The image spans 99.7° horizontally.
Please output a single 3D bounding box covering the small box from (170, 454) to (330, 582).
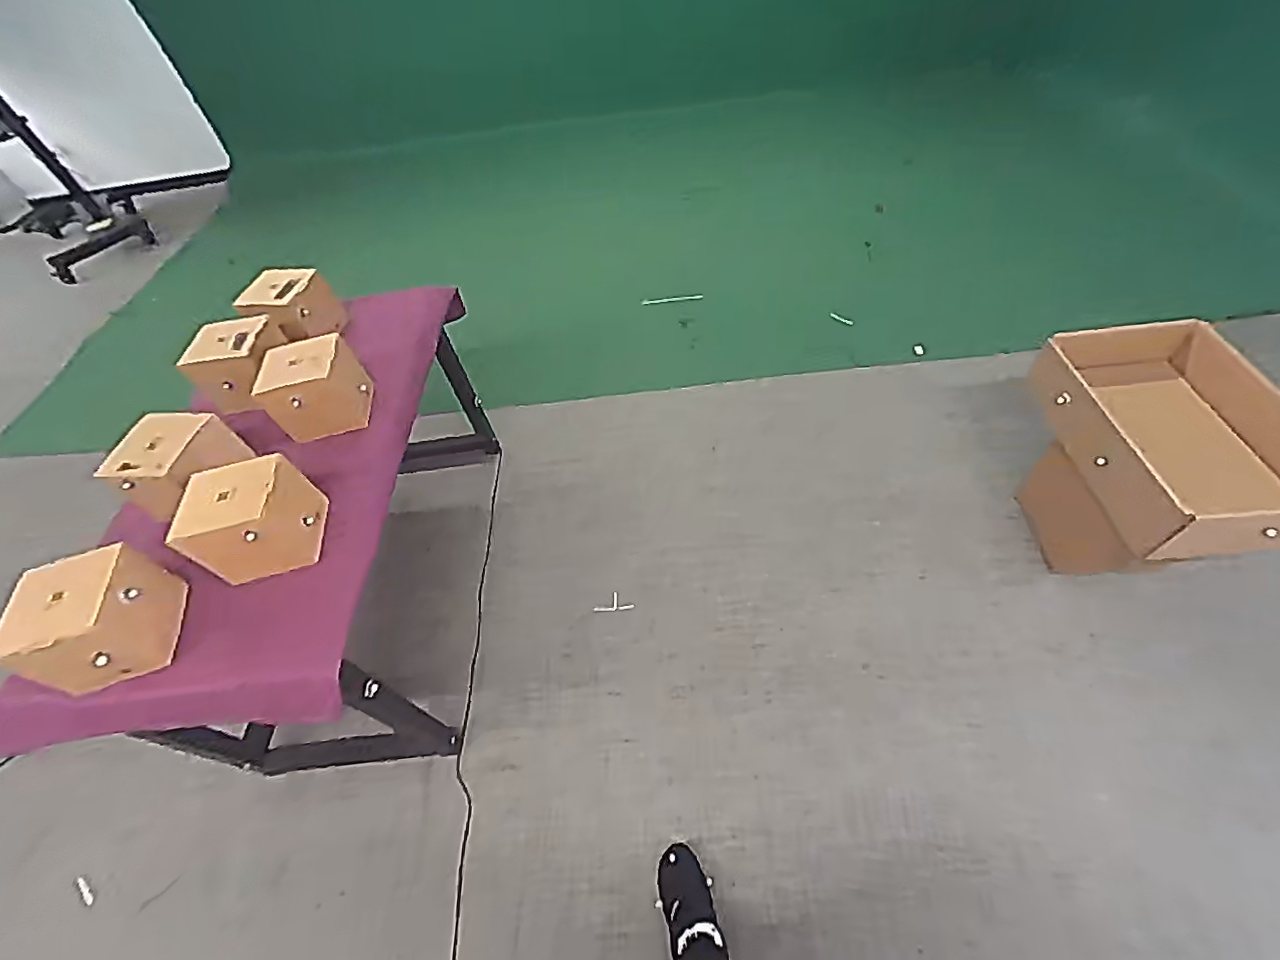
[{"bbox_3d":[-0.755,0.080,1.069,0.179,0.176,0.168,-15,51,-2],"label":"small box"}]

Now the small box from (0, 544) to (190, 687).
[{"bbox_3d":[-0.959,0.249,0.966,0.168,0.176,0.179,-17,51,-7],"label":"small box"}]

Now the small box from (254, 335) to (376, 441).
[{"bbox_3d":[-0.770,-0.216,1.299,0.179,0.176,0.168,-14,52,-1],"label":"small box"}]
